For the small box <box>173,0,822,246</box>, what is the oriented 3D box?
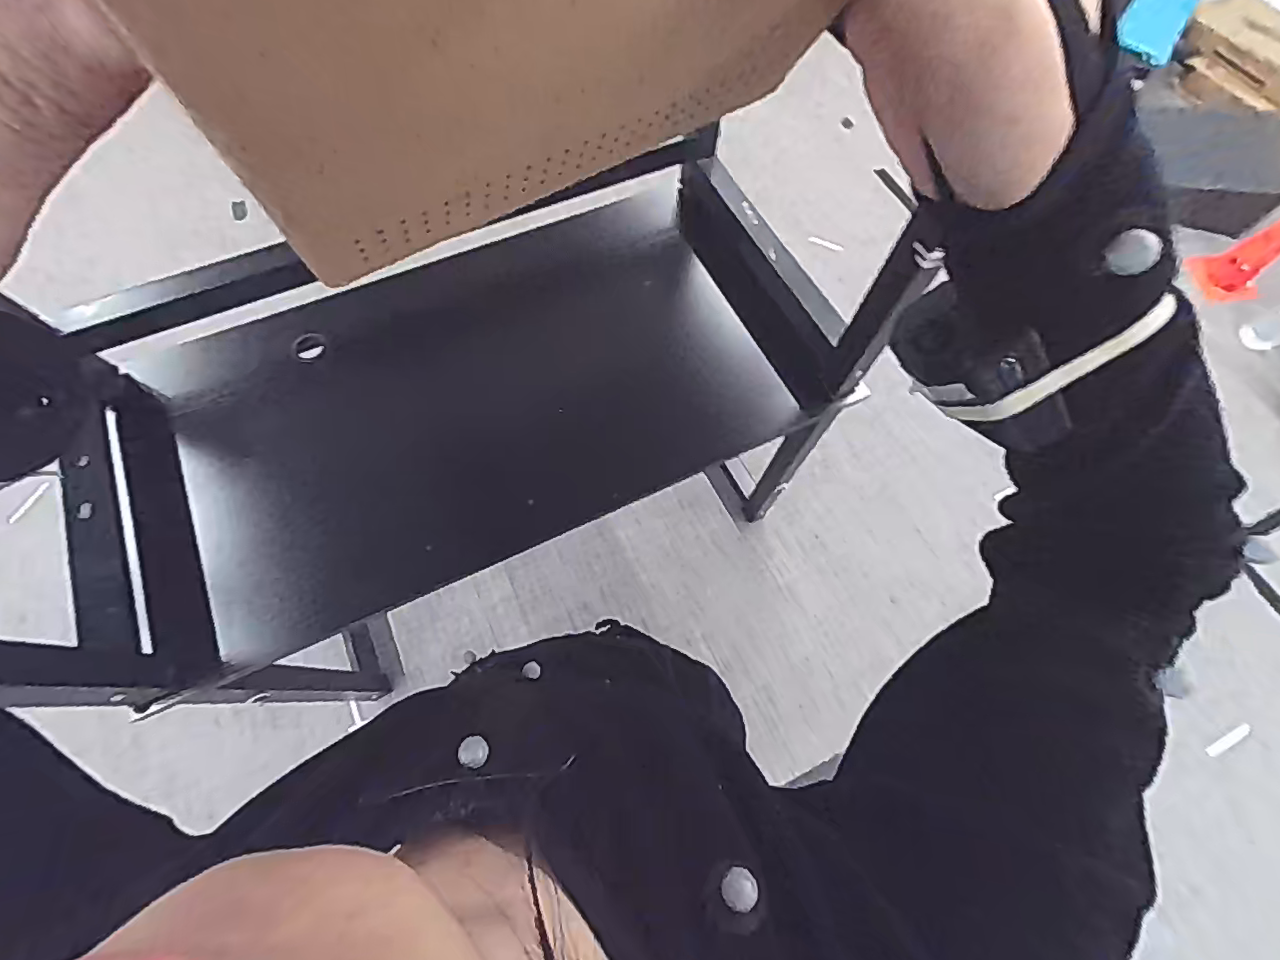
[{"bbox_3d":[-0.031,-0.172,0.092,0.179,0.176,0.168,-33,102,-14],"label":"small box"}]
